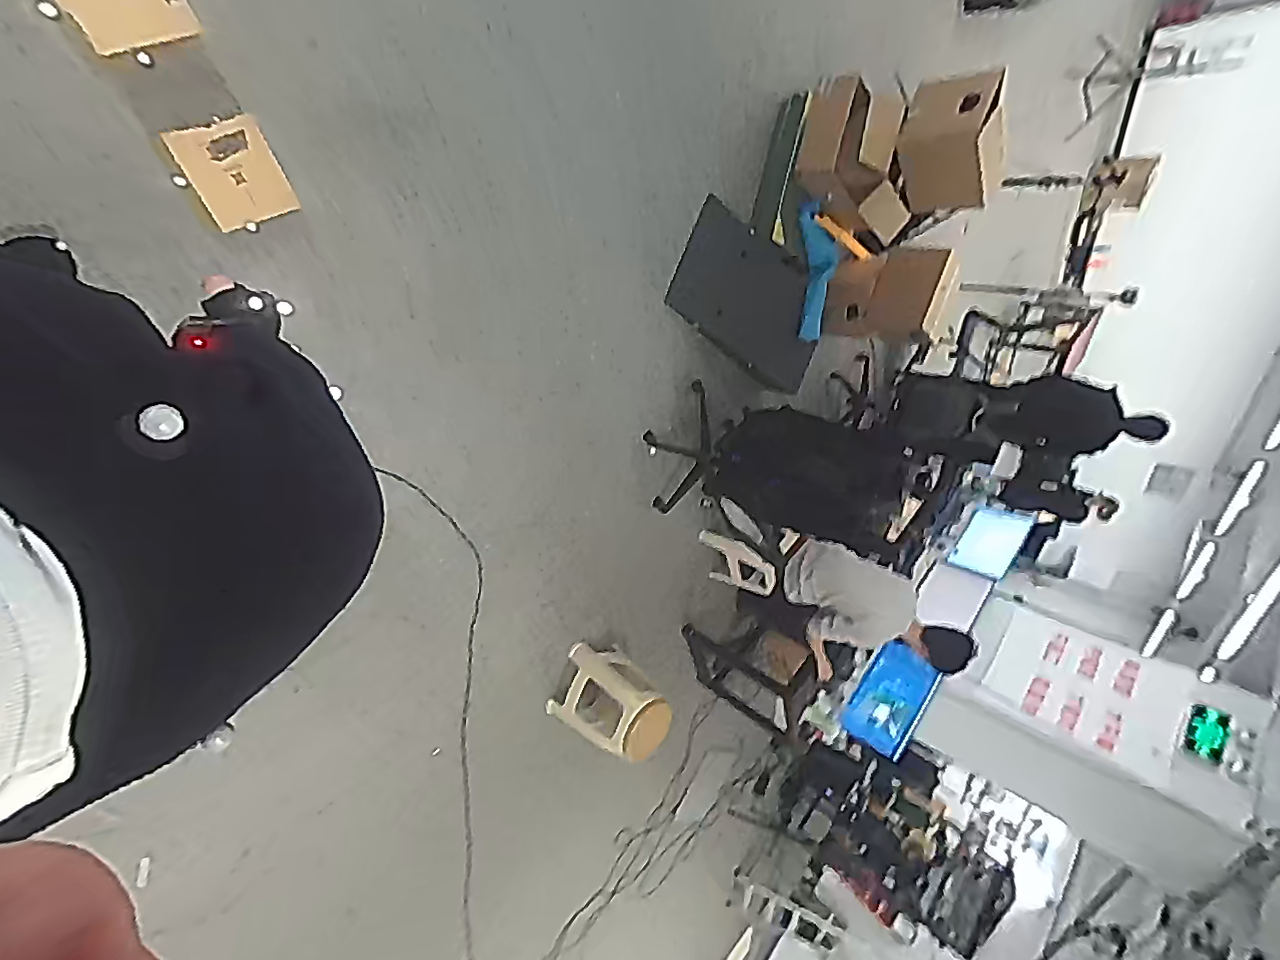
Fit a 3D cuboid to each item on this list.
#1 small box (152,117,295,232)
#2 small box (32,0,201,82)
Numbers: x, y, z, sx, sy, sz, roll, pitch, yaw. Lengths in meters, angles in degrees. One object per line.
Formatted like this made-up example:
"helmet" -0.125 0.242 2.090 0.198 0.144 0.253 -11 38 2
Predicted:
"small box" -0.857 -0.622 1.113 0.168 0.176 0.179 -34 129 -30
"small box" -0.914 -0.848 0.943 0.179 0.176 0.168 31 81 -48
